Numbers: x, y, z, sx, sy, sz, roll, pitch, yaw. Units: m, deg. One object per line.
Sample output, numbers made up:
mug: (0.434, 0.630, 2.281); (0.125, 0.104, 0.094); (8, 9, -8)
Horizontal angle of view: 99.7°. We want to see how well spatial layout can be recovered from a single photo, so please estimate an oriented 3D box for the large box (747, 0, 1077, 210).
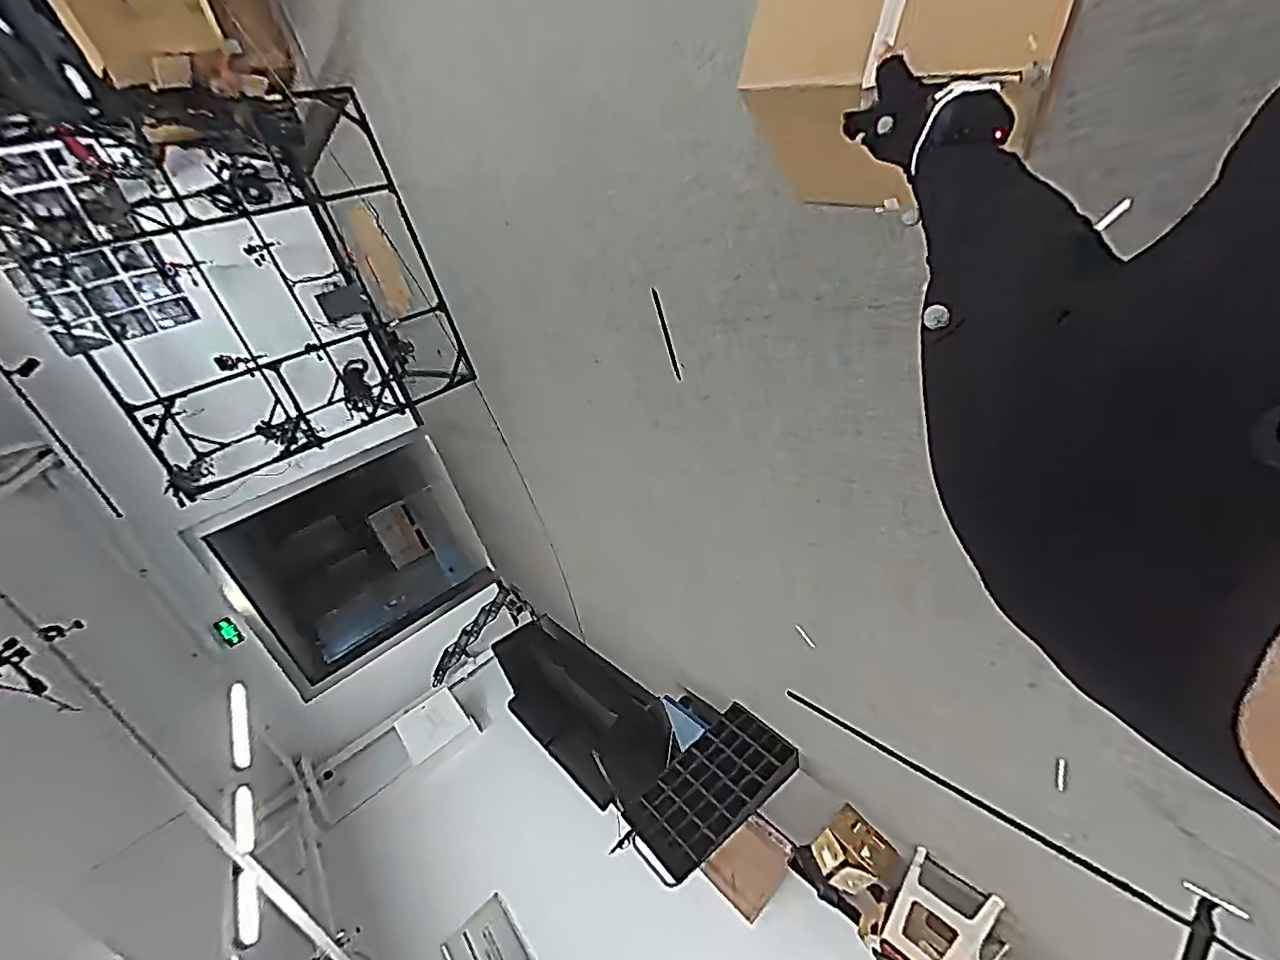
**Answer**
large box: (0.376, -0.617, 0.689); (0.320, 0.320, 0.408); (20, 101, 29)
